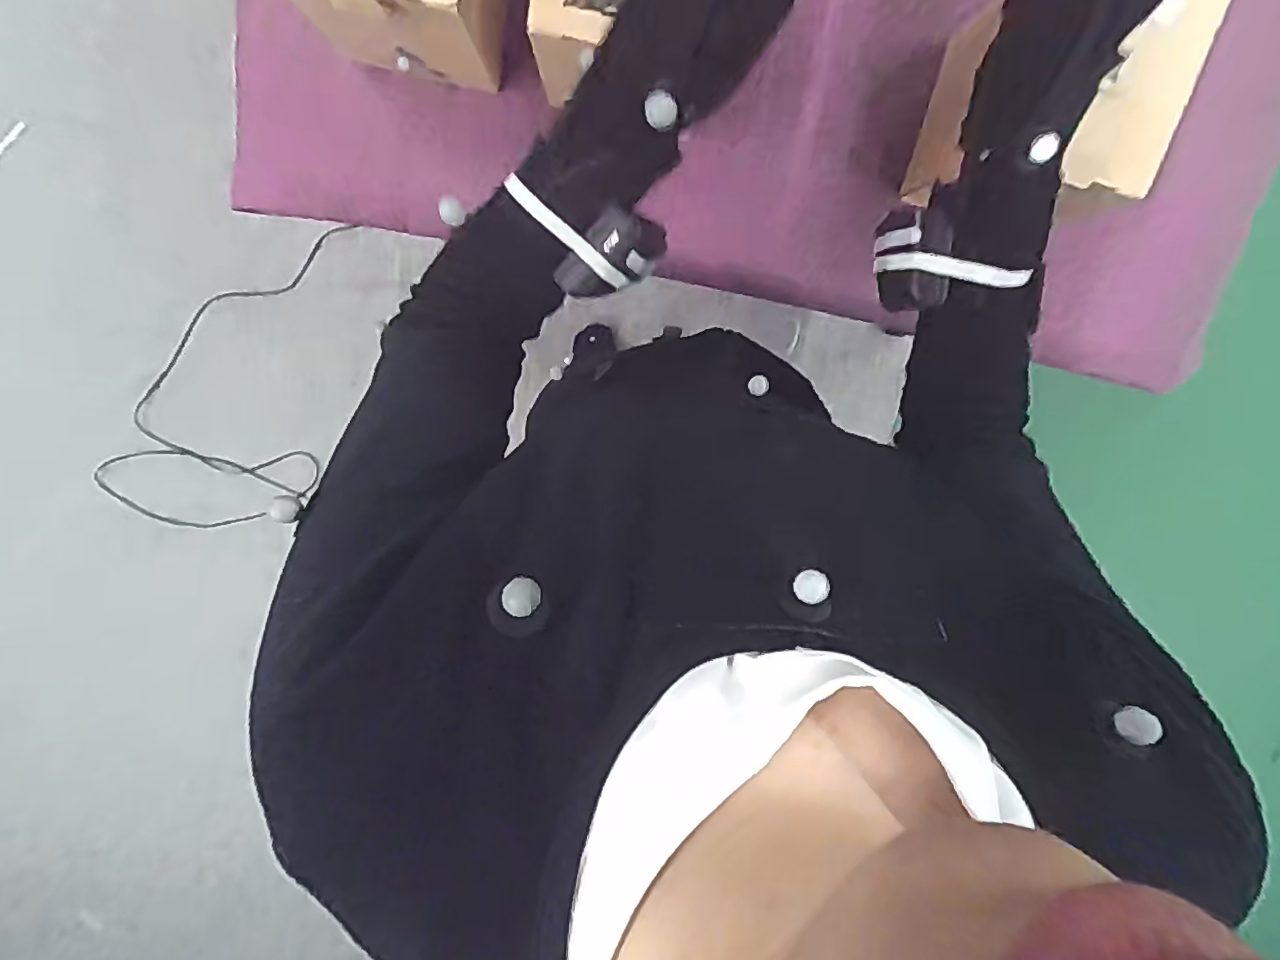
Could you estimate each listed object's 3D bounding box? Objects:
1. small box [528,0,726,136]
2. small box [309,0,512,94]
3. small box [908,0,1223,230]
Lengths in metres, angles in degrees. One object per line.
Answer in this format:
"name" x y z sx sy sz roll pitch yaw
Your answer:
"small box" -0.002 -0.470 0.526 0.168 0.176 0.179 11 104 -6
"small box" -0.218 -0.509 0.505 0.168 0.176 0.179 10 105 -5
"small box" 0.417 -0.387 0.568 0.168 0.176 0.179 12 104 -5
